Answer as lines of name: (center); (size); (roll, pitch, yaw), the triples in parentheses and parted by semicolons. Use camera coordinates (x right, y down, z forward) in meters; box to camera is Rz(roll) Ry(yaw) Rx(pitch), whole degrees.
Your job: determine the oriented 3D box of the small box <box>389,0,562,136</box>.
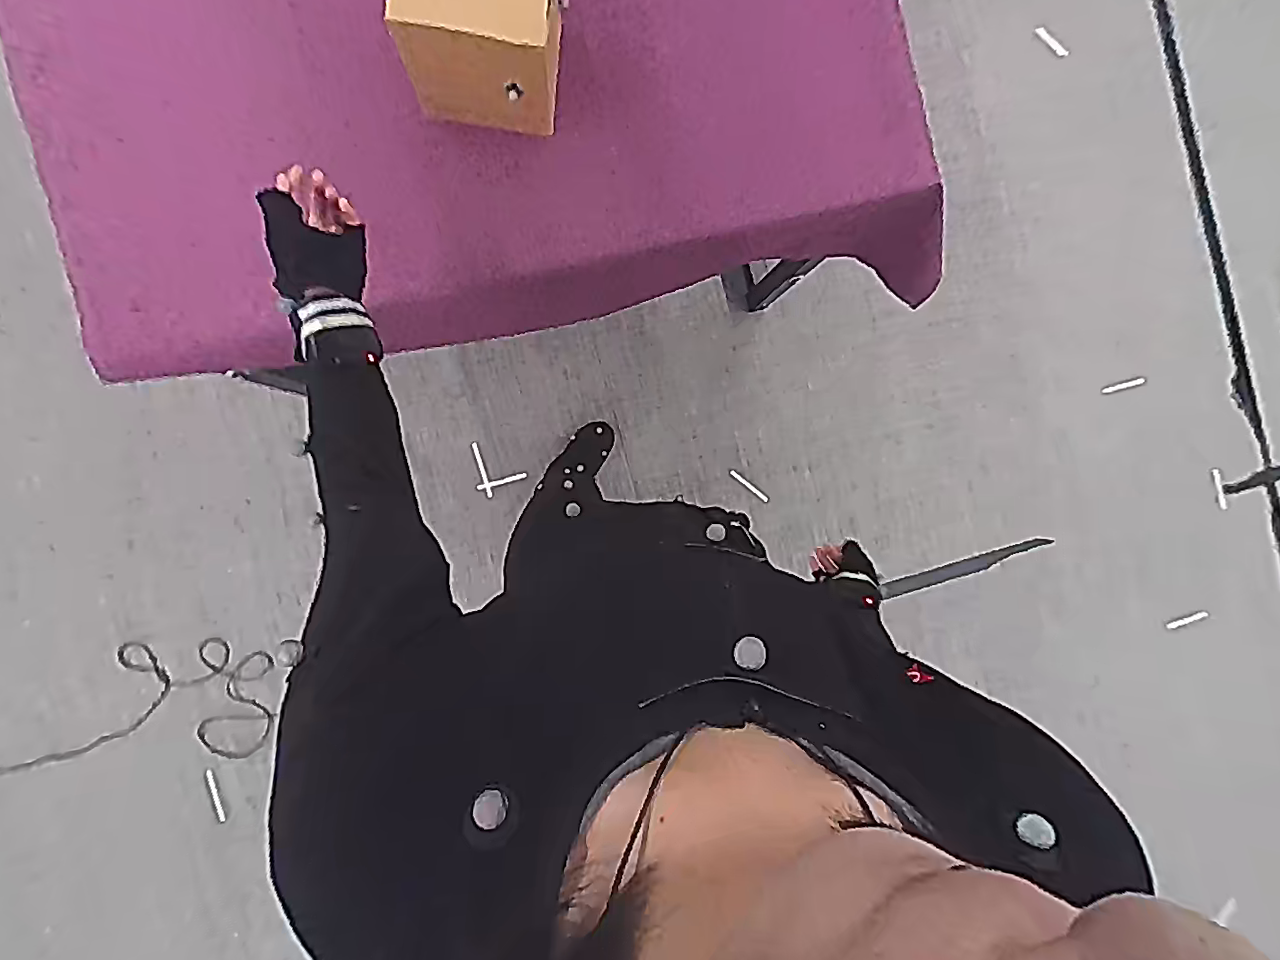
small box: (-0.191, -0.570, 0.679); (0.179, 0.176, 0.168); (4, 89, -6)
